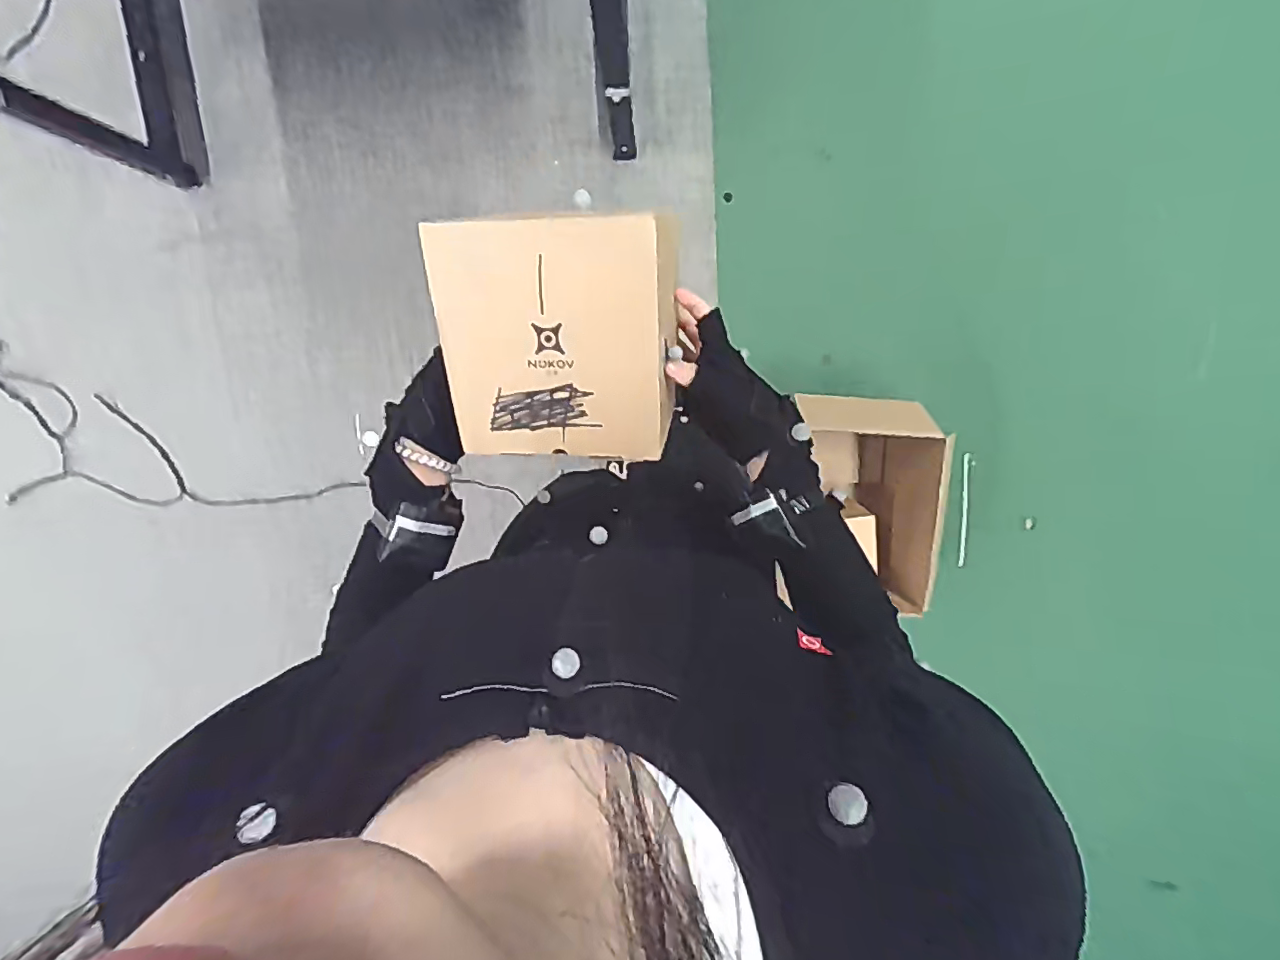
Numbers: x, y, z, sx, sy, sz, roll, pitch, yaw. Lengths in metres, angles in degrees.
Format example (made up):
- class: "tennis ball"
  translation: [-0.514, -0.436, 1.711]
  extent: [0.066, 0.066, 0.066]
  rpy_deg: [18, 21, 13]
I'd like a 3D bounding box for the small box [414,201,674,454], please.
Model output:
- class: "small box"
  translation: [-0.059, -0.137, 0.463]
  extent: [0.168, 0.176, 0.179]
  rpy_deg: [1, 117, 8]
